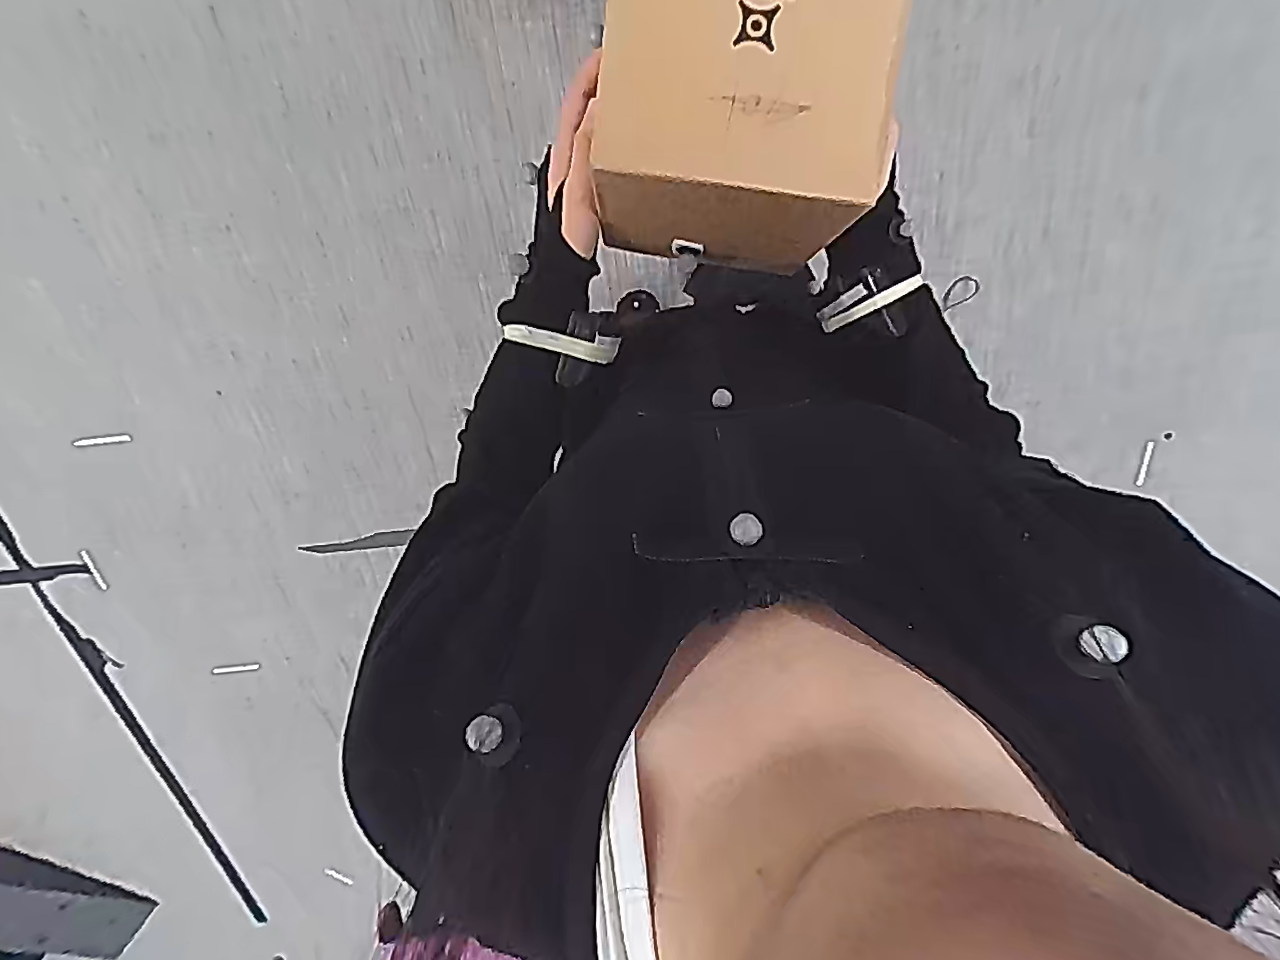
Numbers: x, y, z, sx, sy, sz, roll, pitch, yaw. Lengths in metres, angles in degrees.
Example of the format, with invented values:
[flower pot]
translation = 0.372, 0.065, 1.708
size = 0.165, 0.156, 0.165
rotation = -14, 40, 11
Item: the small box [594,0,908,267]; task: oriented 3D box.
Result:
[small box]
translation = 0.063, -0.267, 0.376
size = 0.168, 0.176, 0.179
rotation = 6, 98, -1
